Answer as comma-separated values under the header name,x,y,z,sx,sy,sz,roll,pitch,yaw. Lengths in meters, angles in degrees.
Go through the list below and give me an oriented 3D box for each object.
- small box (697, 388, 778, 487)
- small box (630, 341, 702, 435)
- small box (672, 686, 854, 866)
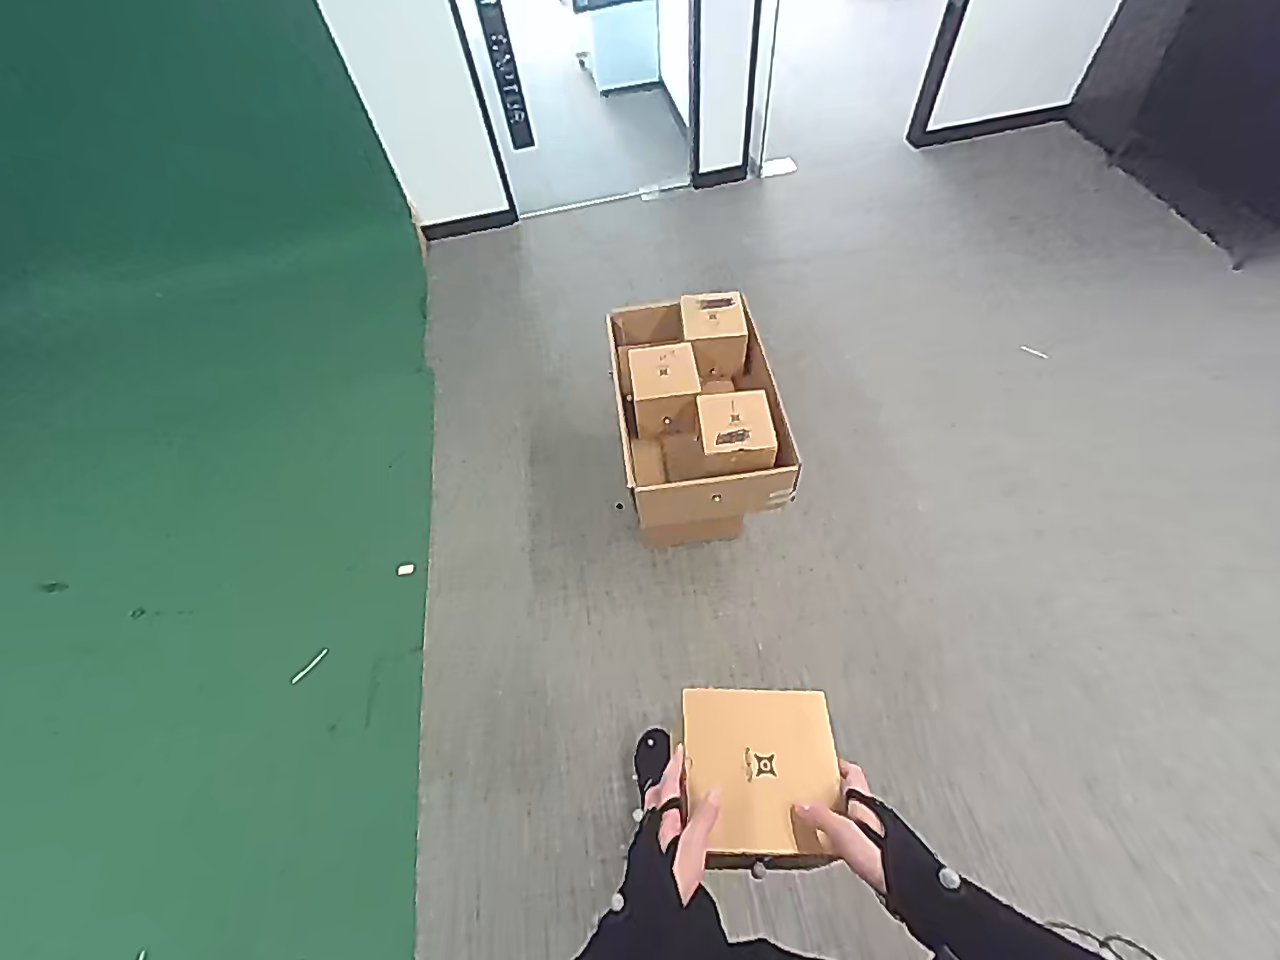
name,x,y,z,sx,sy,sz,roll,pitch,yaw
small box,0.229,-0.095,1.302,0.168,0.176,0.179,-5,58,2
small box,0.068,-0.231,1.403,0.168,0.176,0.179,-7,58,0
small box,0.132,0.361,0.657,0.179,0.176,0.168,0,51,1
